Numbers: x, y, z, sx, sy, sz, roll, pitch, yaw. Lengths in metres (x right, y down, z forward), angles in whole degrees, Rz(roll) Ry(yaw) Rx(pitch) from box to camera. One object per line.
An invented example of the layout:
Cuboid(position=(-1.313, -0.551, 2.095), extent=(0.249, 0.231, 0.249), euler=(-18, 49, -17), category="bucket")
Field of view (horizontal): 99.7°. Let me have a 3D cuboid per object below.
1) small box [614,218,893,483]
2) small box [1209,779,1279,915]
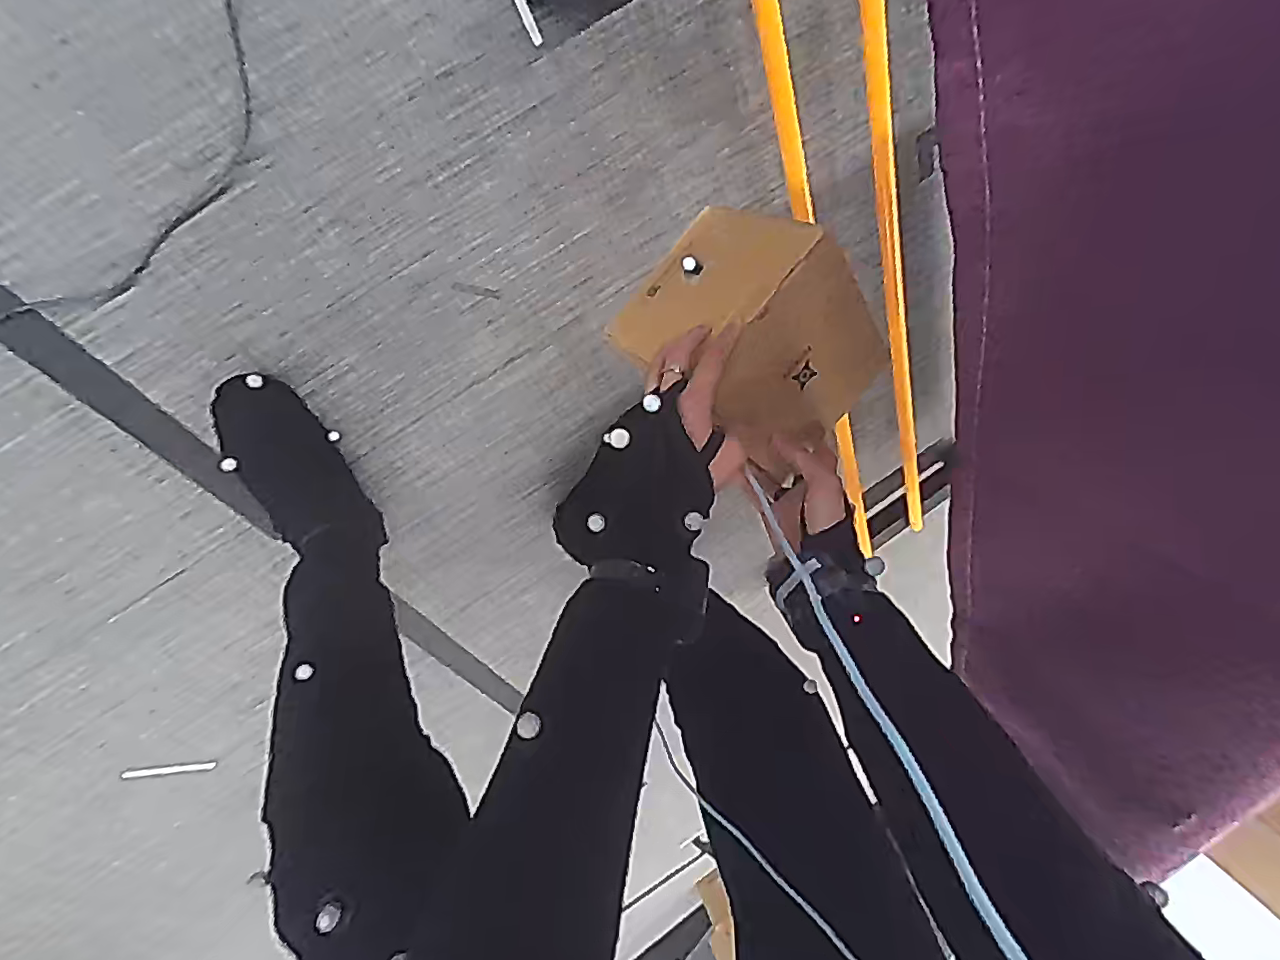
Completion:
Cuboid(position=(0.107, -0.132, 0.539), extent=(0.168, 0.176, 0.179), euler=(-49, 131, 4), category="small box")
Cuboid(position=(0.694, 0.359, 0.495), extent=(0.168, 0.176, 0.179), euler=(-34, 131, -3), category="small box")
